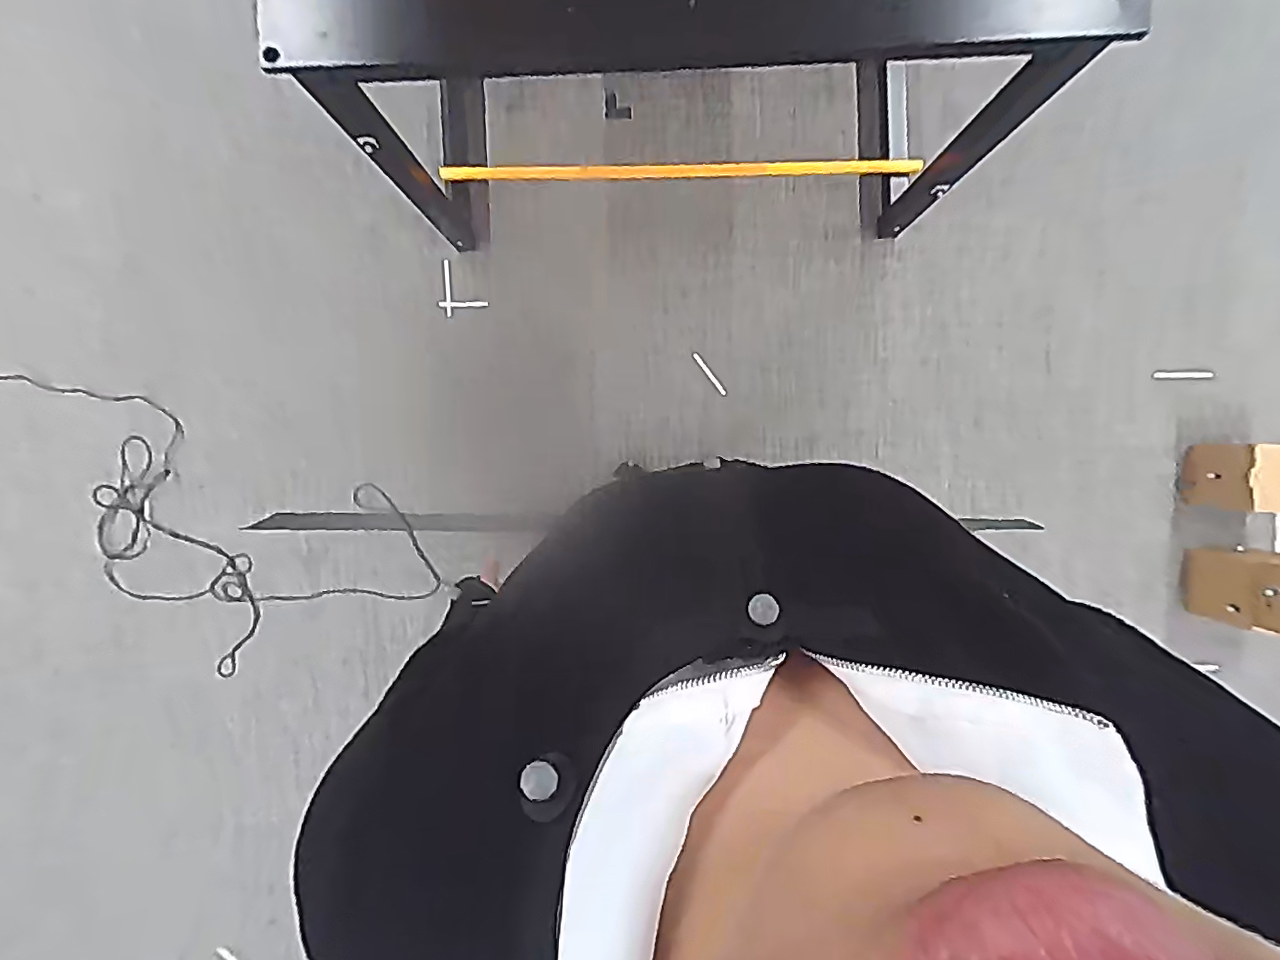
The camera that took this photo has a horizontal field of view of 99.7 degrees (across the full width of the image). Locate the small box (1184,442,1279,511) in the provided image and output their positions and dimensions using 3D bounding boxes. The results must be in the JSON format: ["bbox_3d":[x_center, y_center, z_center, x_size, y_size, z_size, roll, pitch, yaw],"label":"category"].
[{"bbox_3d":[1.554,-0.008,1.377,0.179,0.176,0.168,1,93,2],"label":"small box"}]

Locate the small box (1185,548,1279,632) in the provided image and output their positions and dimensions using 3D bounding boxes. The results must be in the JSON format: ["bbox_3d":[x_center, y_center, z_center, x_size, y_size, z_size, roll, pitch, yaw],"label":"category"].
[{"bbox_3d":[1.565,0.278,1.392,0.168,0.176,0.179,-2,93,1],"label":"small box"}]

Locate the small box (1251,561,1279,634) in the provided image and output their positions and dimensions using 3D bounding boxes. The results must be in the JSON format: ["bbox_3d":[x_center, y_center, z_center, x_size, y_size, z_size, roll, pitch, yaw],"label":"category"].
[{"bbox_3d":[1.573,0.281,1.229,0.179,0.176,0.168,0,92,2],"label":"small box"}]
